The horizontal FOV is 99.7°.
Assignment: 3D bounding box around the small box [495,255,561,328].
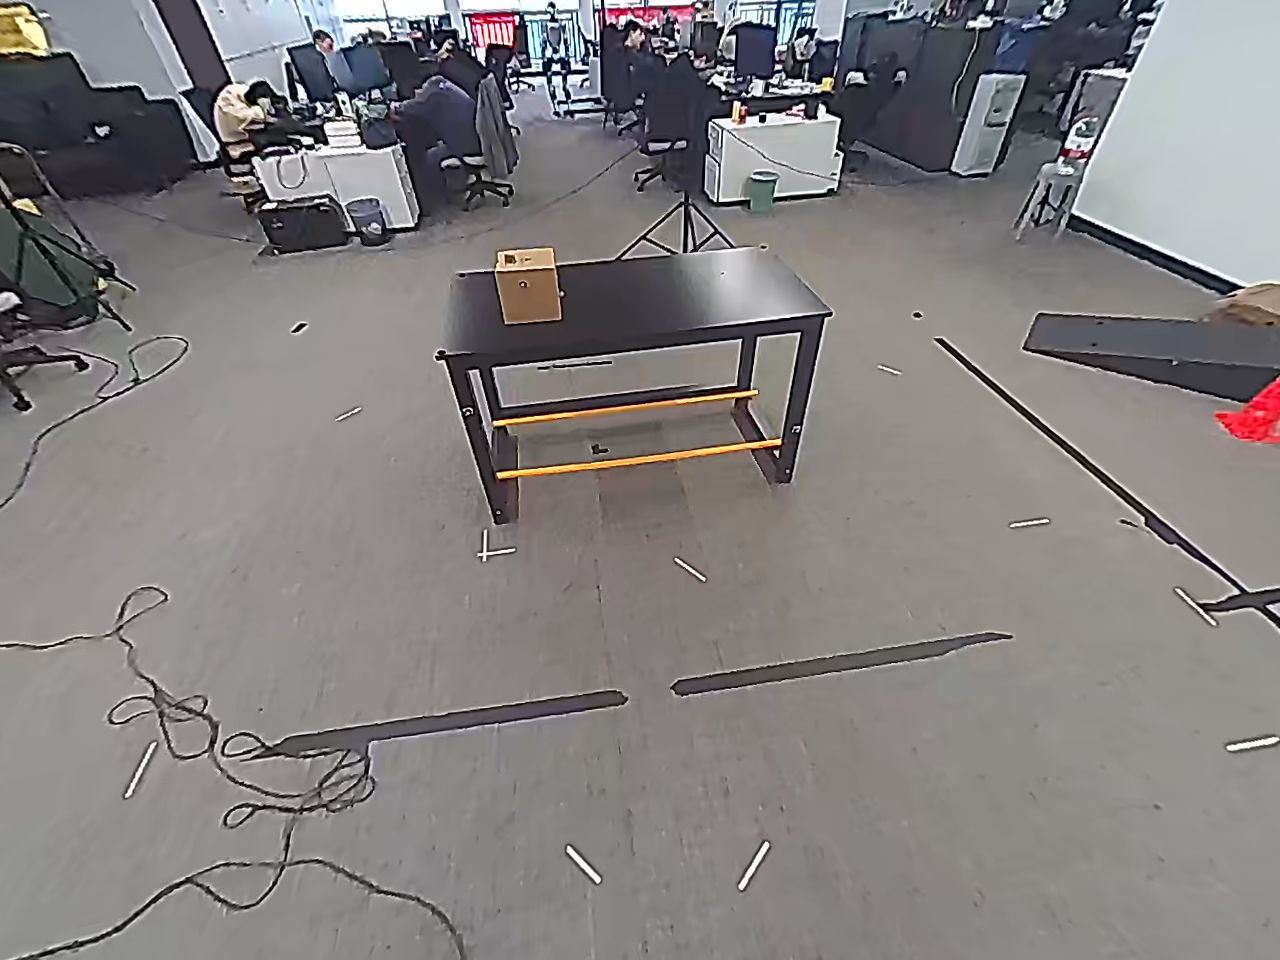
[{"bbox_3d":[-0.349,-0.593,1.708,0.179,0.176,0.168,-6,42,-6],"label":"small box"}]
